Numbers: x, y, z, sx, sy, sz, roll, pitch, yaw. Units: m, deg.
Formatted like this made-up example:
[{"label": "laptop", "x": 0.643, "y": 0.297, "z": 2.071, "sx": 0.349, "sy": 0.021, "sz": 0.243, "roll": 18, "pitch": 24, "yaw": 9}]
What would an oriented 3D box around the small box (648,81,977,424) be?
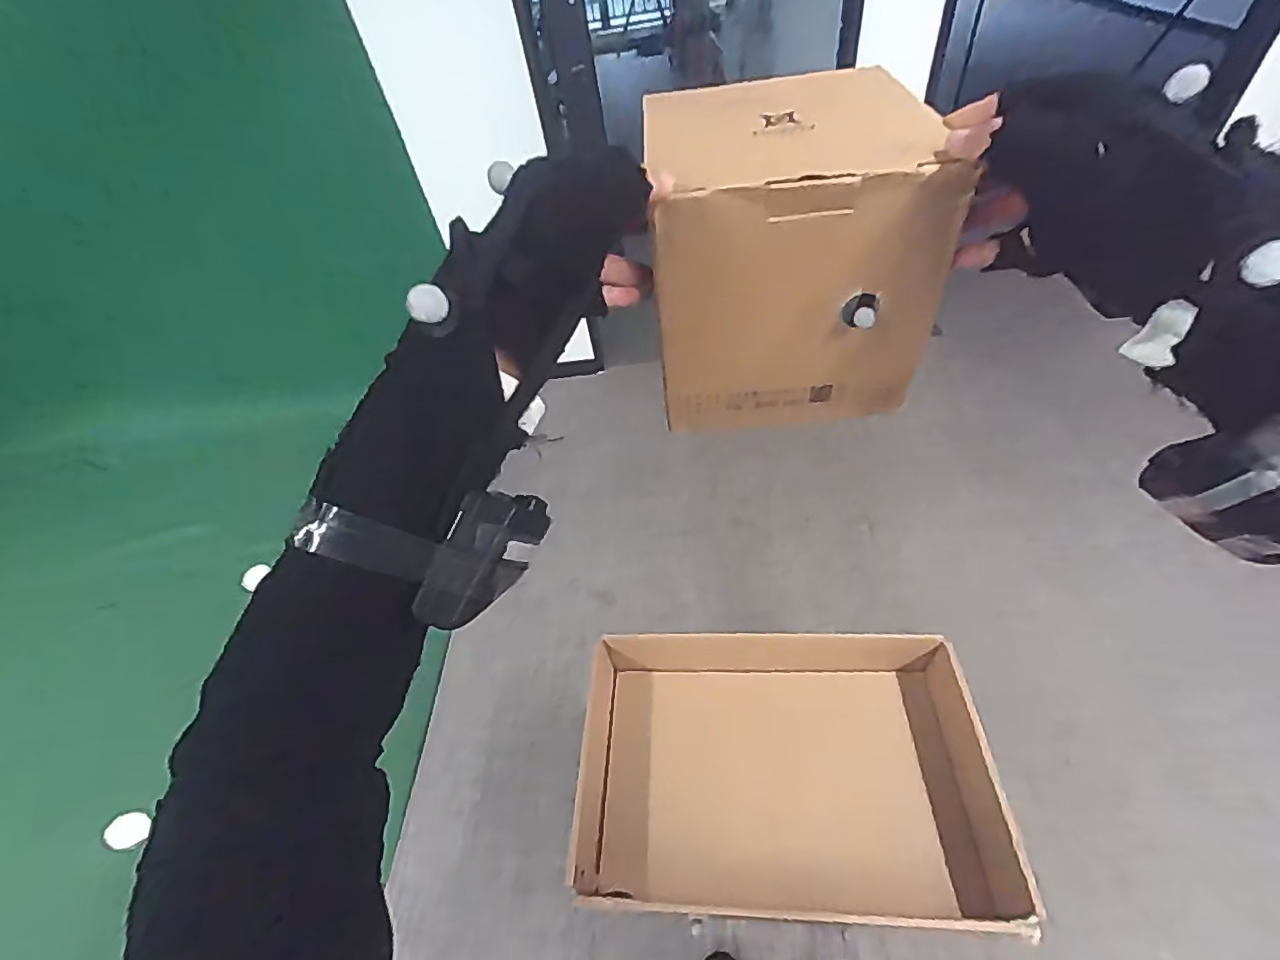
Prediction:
[{"label": "small box", "x": 0.095, "y": -0.153, "z": 0.385, "sx": 0.168, "sy": 0.176, "sz": 0.179, "roll": -4, "pitch": 48, "yaw": 4}]
